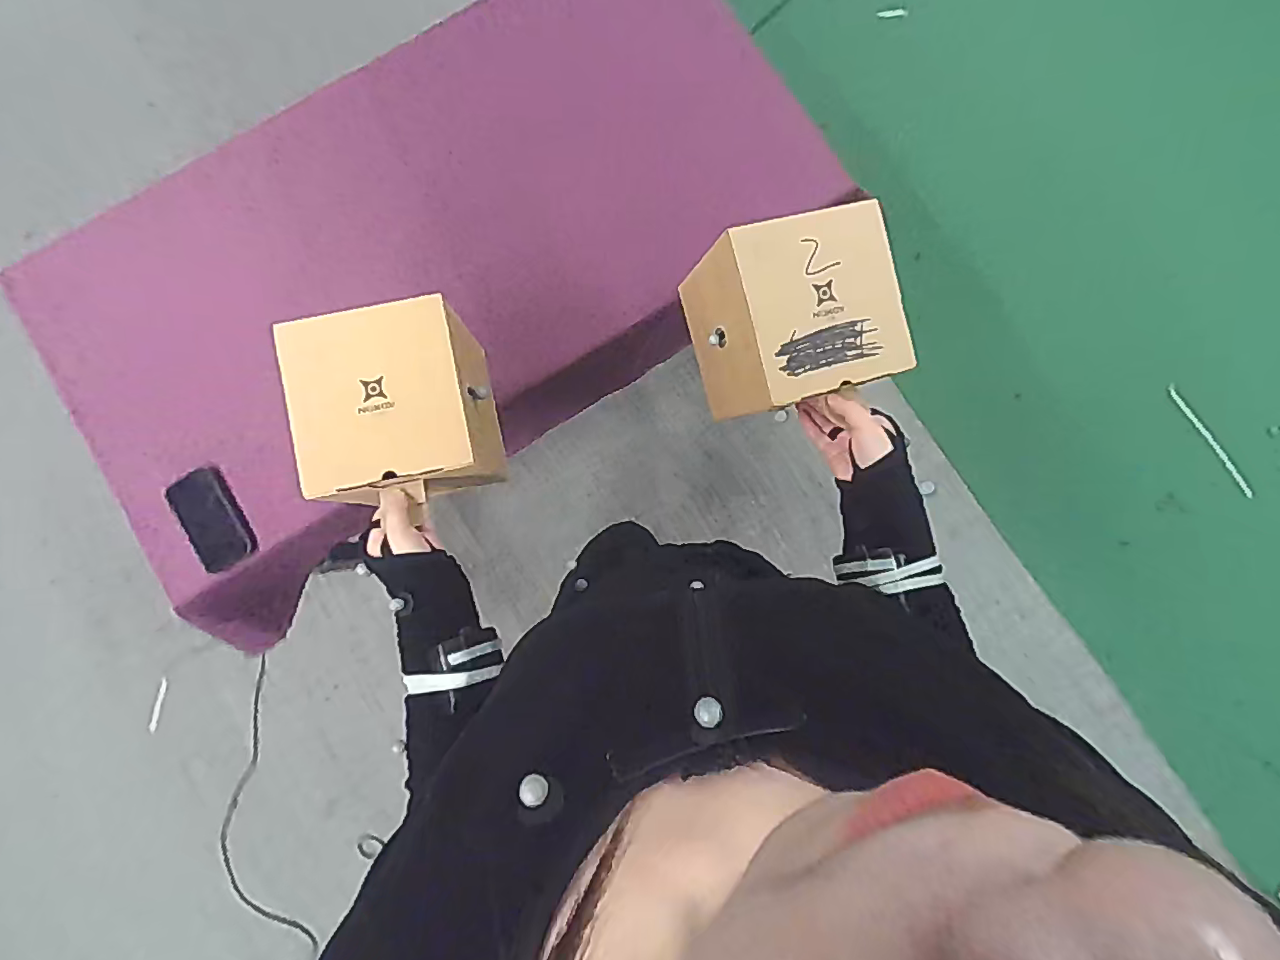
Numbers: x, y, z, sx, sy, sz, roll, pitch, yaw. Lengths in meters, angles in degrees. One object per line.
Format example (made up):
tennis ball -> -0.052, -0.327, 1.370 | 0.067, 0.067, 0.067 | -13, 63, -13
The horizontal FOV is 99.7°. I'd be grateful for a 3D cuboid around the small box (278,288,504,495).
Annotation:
small box -> -0.257, -0.084, 0.597 | 0.168, 0.176, 0.179 | -11, 87, -4
